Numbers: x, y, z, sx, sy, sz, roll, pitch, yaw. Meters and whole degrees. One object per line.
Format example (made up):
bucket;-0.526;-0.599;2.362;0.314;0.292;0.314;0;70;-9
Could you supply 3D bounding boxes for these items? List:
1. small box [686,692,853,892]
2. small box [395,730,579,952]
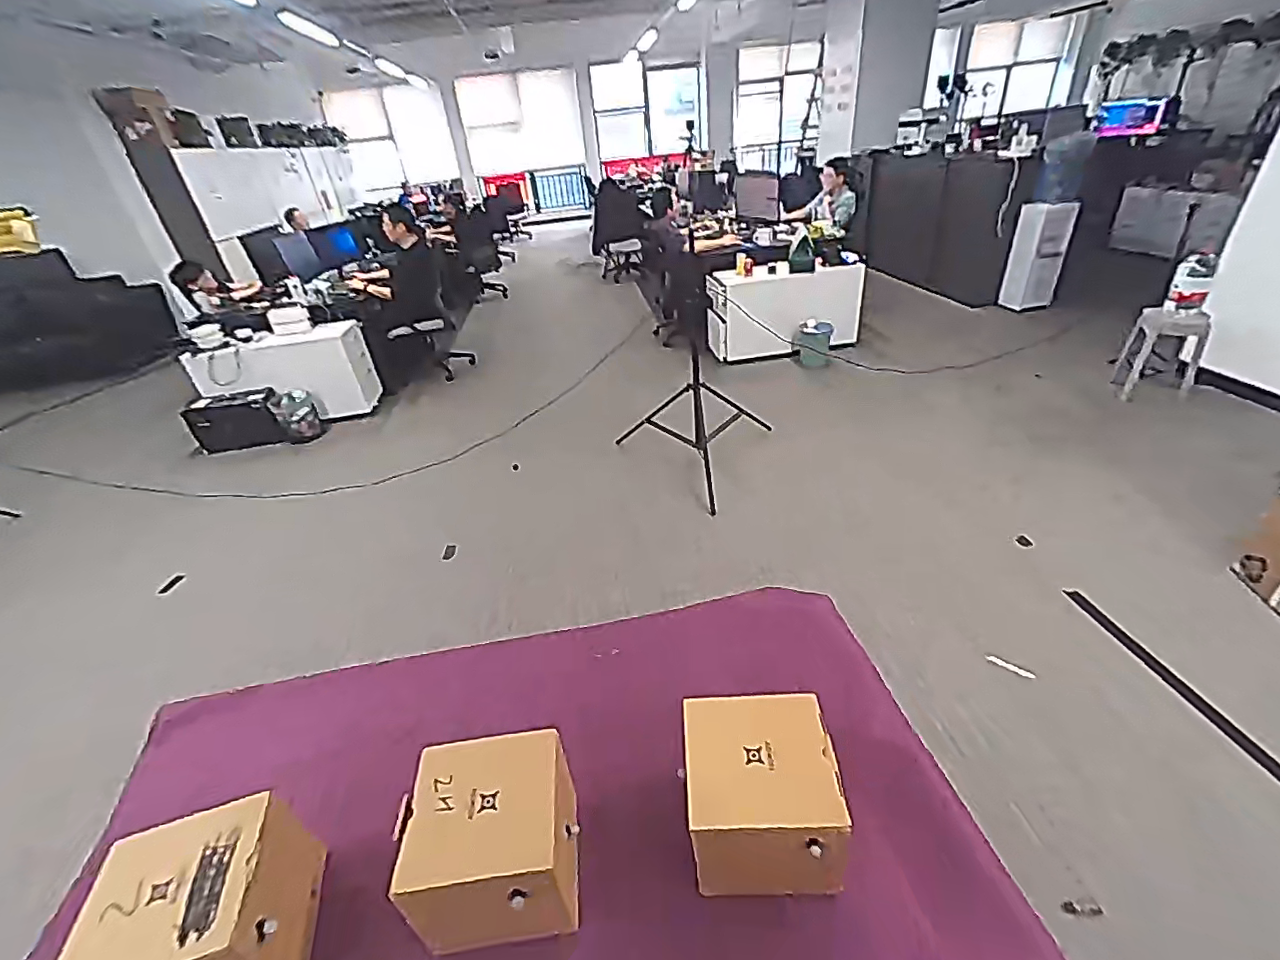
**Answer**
small box;0.155;0.397;0.691;0.179;0.176;0.168;-4;32;4
small box;-0.171;0.448;0.676;0.179;0.176;0.168;-9;31;-2
